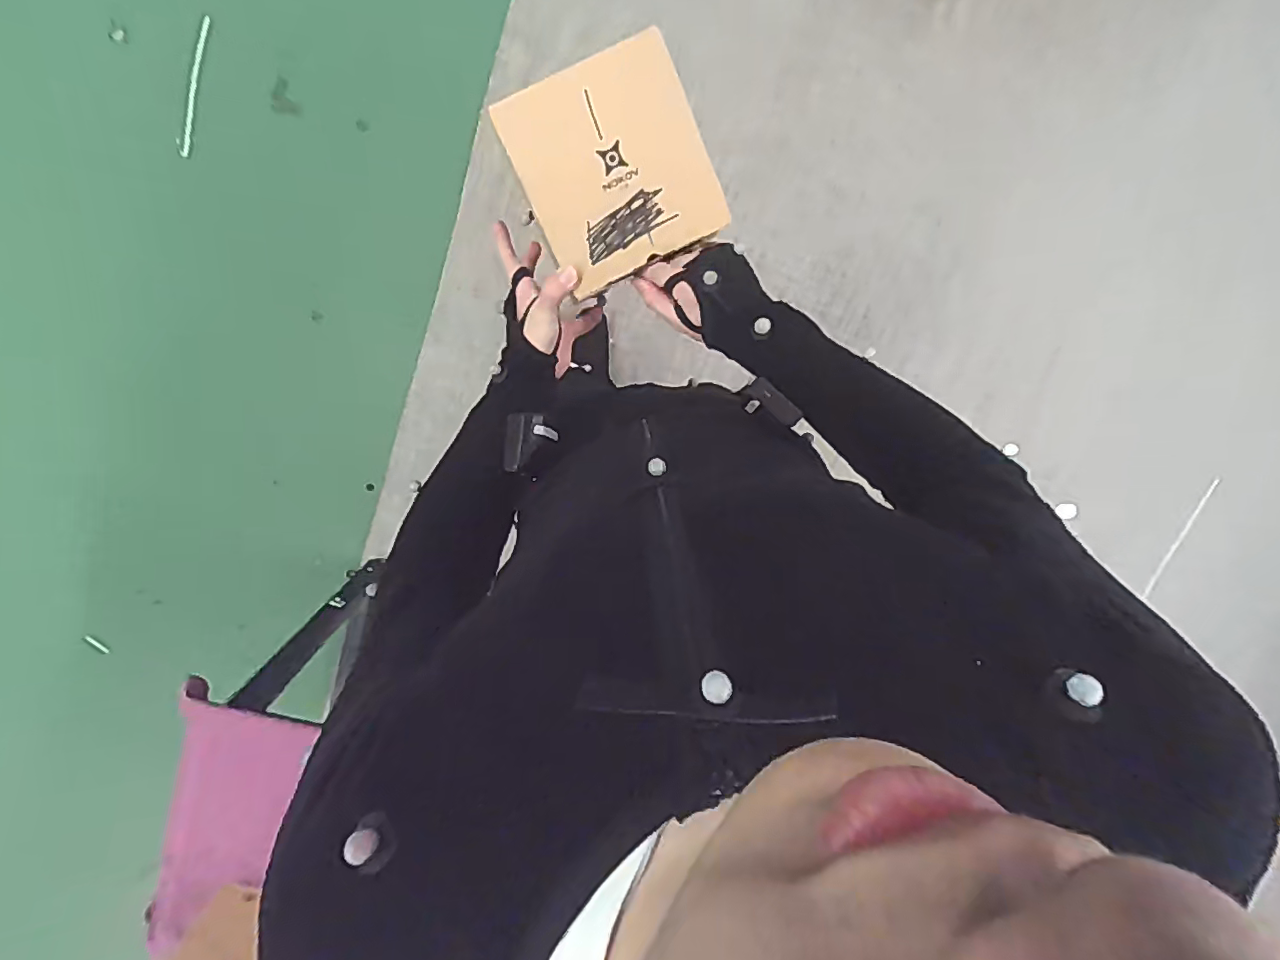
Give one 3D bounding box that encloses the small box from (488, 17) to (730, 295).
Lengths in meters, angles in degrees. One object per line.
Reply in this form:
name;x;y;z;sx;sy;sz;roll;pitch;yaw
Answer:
small box;-0.031;-0.305;0.557;0.168;0.176;0.179;-26;106;0
